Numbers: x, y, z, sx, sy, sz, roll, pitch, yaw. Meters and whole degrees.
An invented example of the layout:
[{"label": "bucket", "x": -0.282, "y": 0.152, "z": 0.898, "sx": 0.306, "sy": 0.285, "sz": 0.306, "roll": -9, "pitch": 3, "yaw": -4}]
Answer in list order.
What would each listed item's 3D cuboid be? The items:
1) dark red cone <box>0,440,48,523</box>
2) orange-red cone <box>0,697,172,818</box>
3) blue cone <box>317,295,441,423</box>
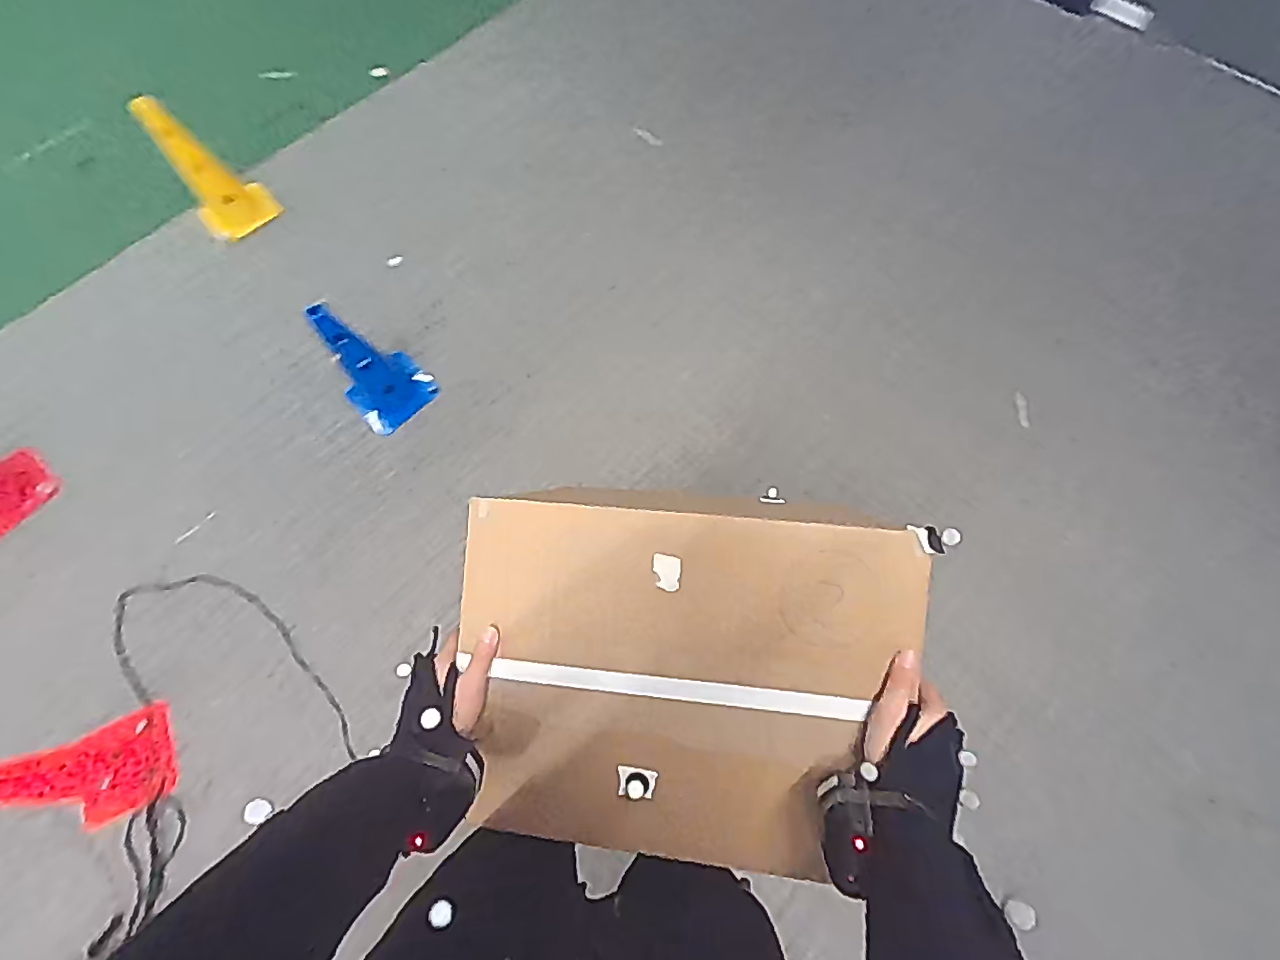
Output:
[{"label": "dark red cone", "x": -1.683, "y": -0.049, "z": 1.263, "sx": 0.201, "sy": 0.394, "sz": 0.202, "roll": 35, "pitch": 75, "yaw": 18}, {"label": "orange-red cone", "x": -1.143, "y": 0.546, "z": 1.030, "sx": 0.199, "sy": 0.360, "sz": 0.198, "roll": -24, "pitch": 69, "yaw": -4}, {"label": "blue cone", "x": -0.683, "y": -0.318, "z": 1.346, "sx": 0.192, "sy": 0.380, "sz": 0.193, "roll": -43, "pitch": 73, "yaw": -12}]
